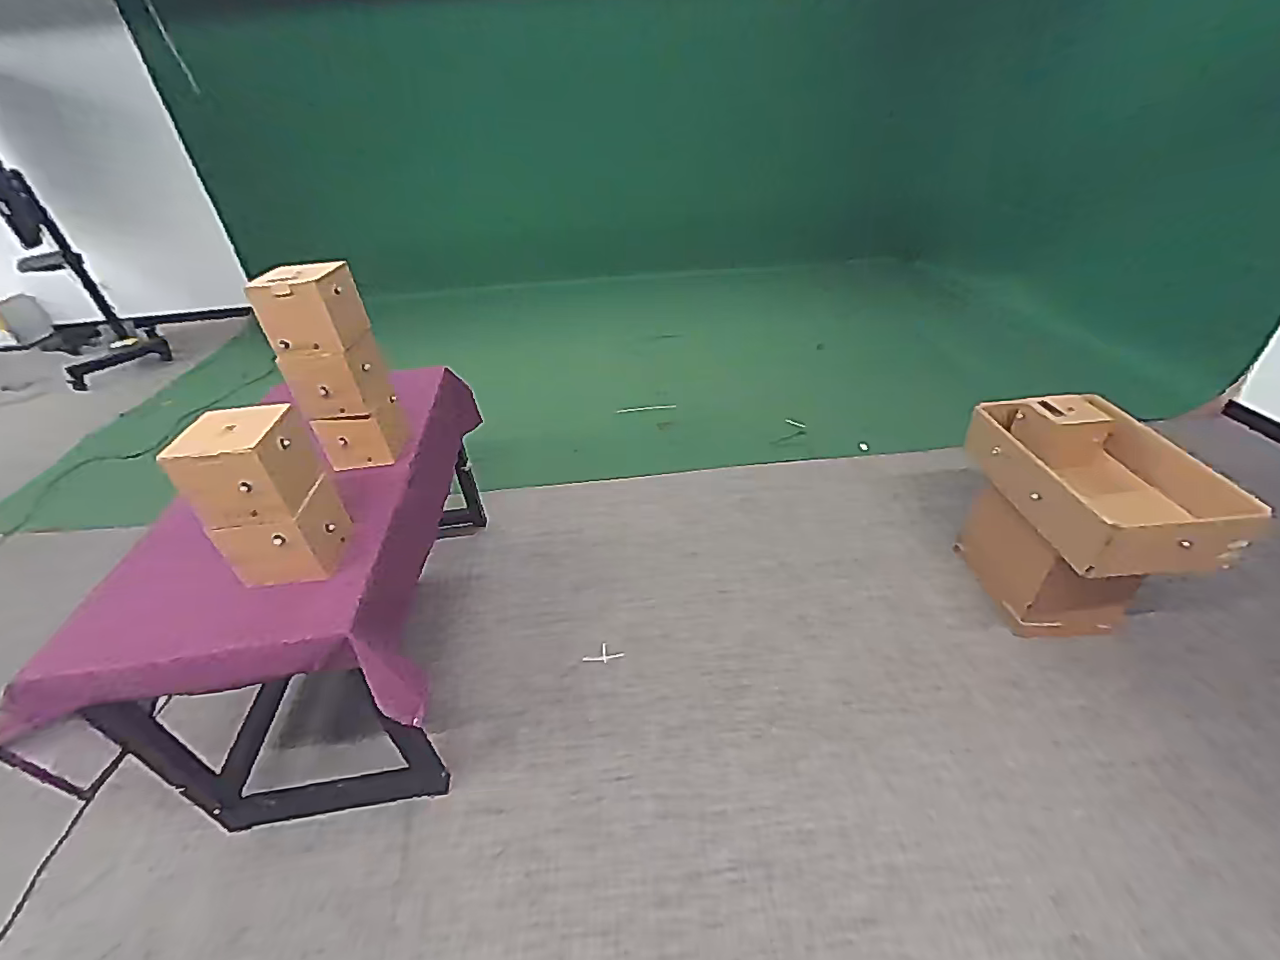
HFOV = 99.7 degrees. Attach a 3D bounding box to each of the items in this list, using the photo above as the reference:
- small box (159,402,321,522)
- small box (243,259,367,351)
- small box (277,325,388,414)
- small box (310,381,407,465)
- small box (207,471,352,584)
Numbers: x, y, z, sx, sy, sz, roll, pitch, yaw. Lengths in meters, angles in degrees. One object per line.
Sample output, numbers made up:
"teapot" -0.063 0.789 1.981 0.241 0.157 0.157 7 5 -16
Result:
"small box" -0.763 -0.031 1.059 0.168 0.176 0.179 -6 36 -3
"small box" -0.790 -0.417 1.300 0.168 0.176 0.179 -5 35 1
"small box" -0.778 -0.279 1.391 0.168 0.176 0.179 -5 37 0
"small box" -0.766 -0.153 1.496 0.168 0.176 0.179 -7 37 -2
"small box" -0.749 0.102 1.152 0.179 0.176 0.168 -6 36 -1
